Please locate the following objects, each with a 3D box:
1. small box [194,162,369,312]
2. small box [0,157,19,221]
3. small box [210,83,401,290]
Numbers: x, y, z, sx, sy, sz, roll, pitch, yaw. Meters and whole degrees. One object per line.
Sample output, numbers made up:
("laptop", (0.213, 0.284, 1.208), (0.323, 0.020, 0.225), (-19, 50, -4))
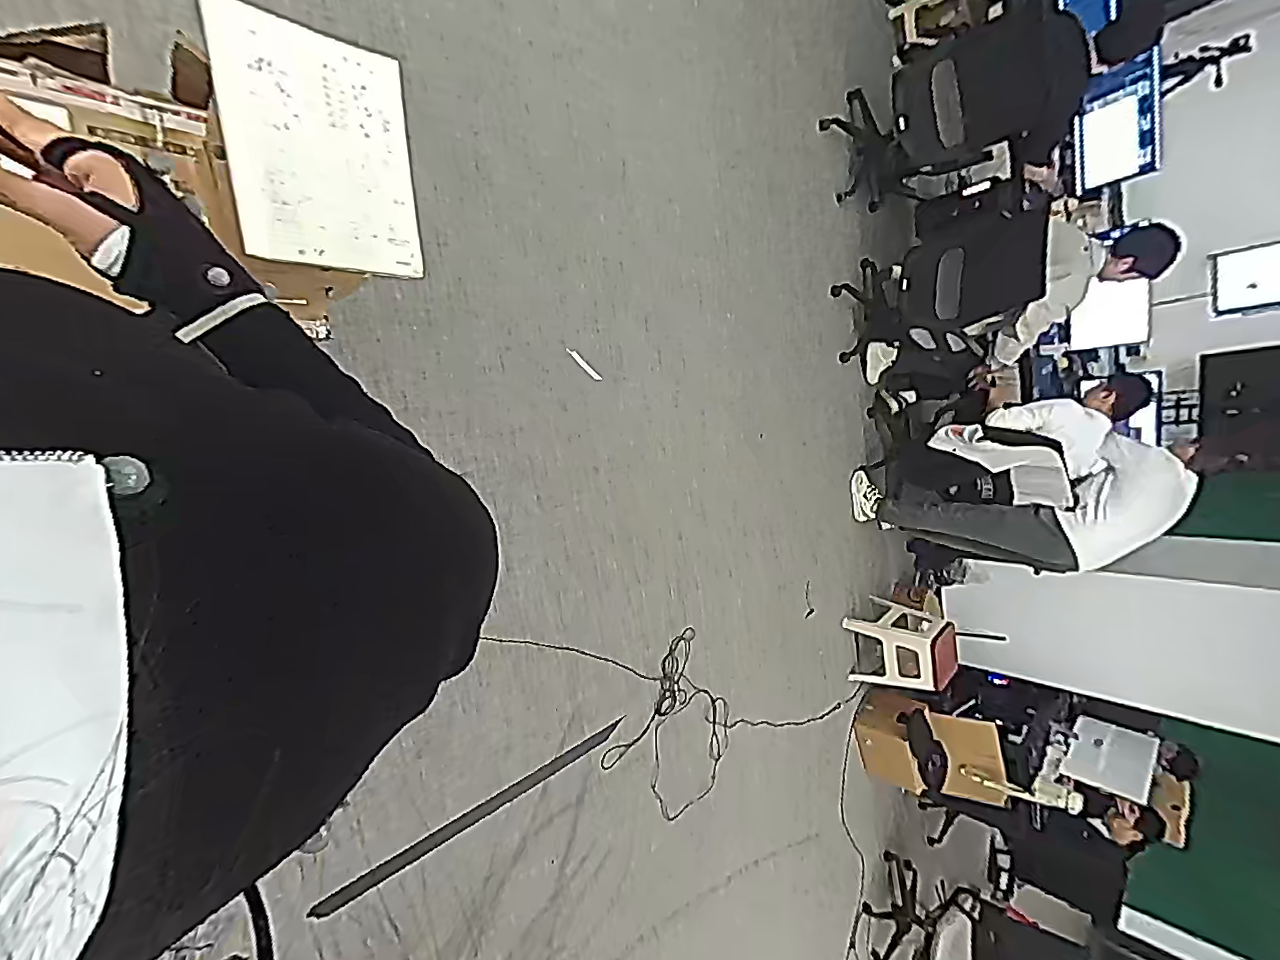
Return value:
("small box", (-0.552, -0.360, 0.835), (0.179, 0.176, 0.168), (-18, 103, -42))
("small box", (-0.516, -0.245, 0.312), (0.179, 0.176, 0.168), (-20, 119, -41))
("small box", (-0.442, -0.366, 0.714), (0.168, 0.176, 0.179), (-14, 101, -43))
